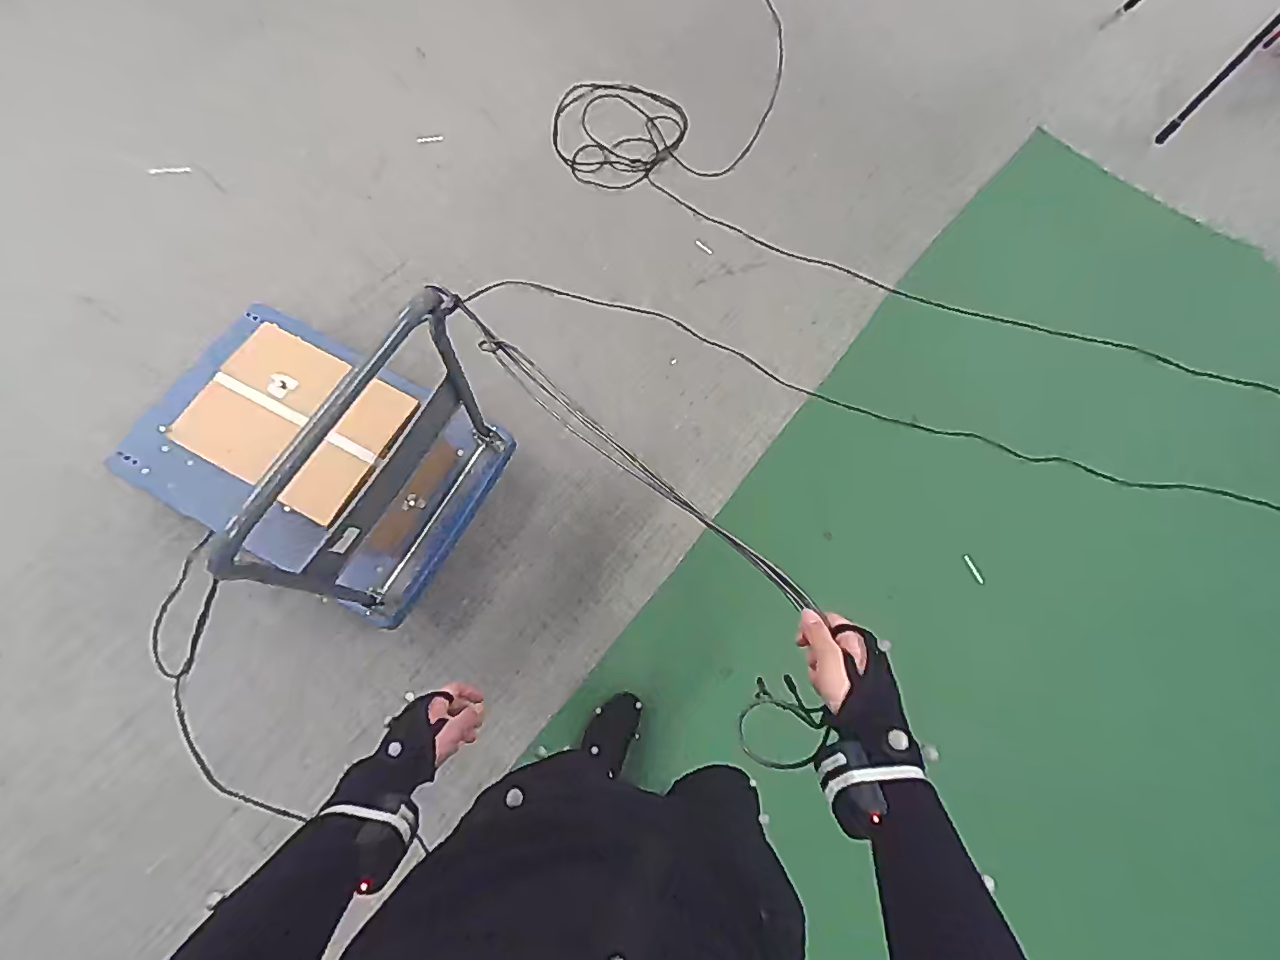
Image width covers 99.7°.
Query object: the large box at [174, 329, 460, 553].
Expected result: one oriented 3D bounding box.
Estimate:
[{"bbox_3d":[-0.706,-0.073,1.257,0.408,0.320,0.320,27,72,7],"label":"large box"}]
